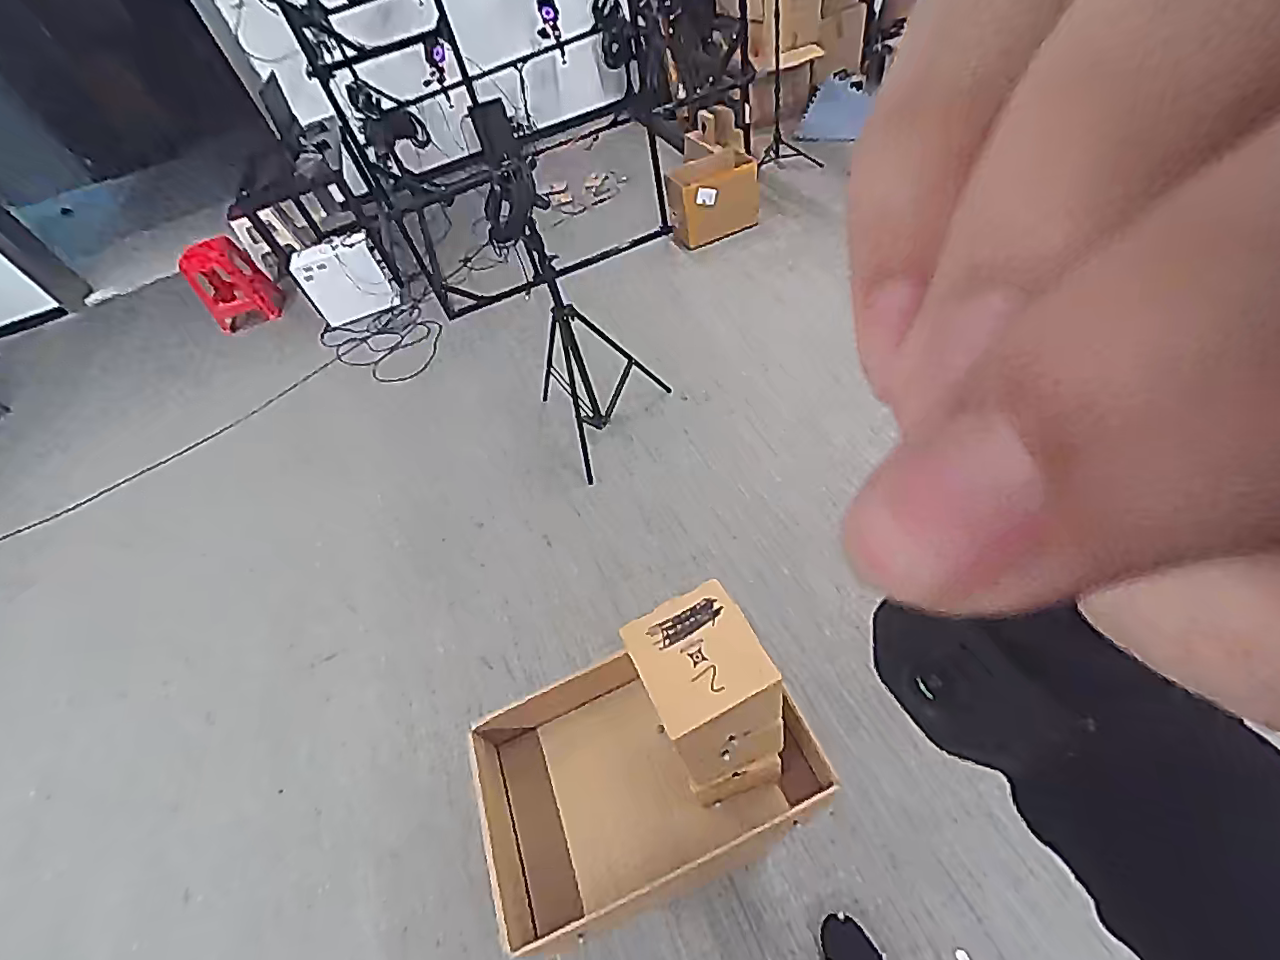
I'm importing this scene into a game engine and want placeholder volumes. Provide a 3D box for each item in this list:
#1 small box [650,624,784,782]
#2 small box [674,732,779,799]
[{"bbox_3d":[0.132,0.384,0.926,0.168,0.176,0.179,-22,49,-3],"label":"small box"},{"bbox_3d":[0.159,0.495,1.044,0.168,0.176,0.179,-18,48,-2],"label":"small box"}]
